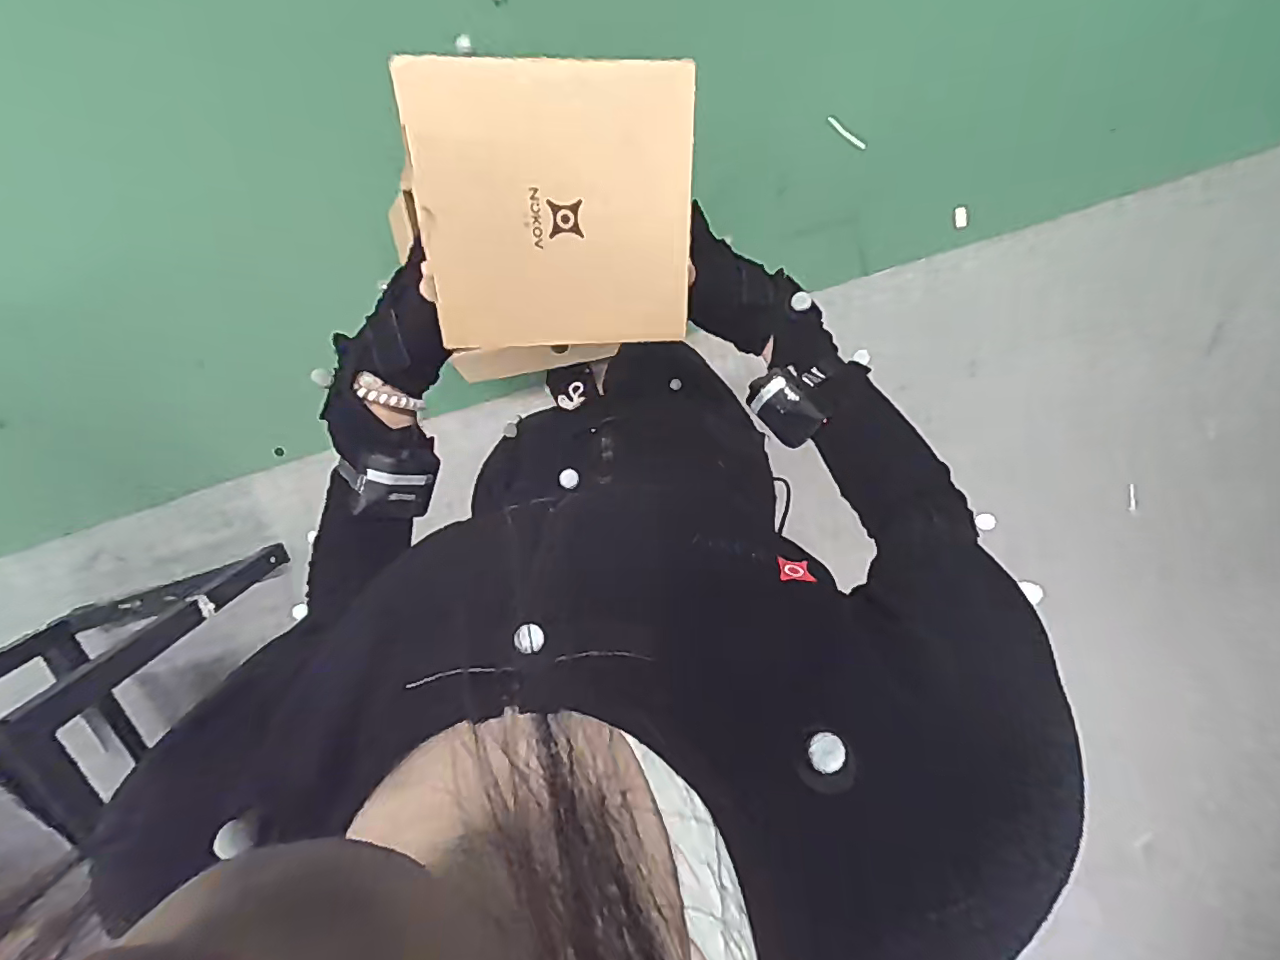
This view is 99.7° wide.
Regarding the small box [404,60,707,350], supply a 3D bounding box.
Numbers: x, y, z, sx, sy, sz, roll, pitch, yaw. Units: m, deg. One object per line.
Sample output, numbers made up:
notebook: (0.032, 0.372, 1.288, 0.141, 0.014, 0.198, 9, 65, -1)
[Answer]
small box: (-0.055, -0.207, 0.416, 0.179, 0.176, 0.168, -4, 119, -4)
